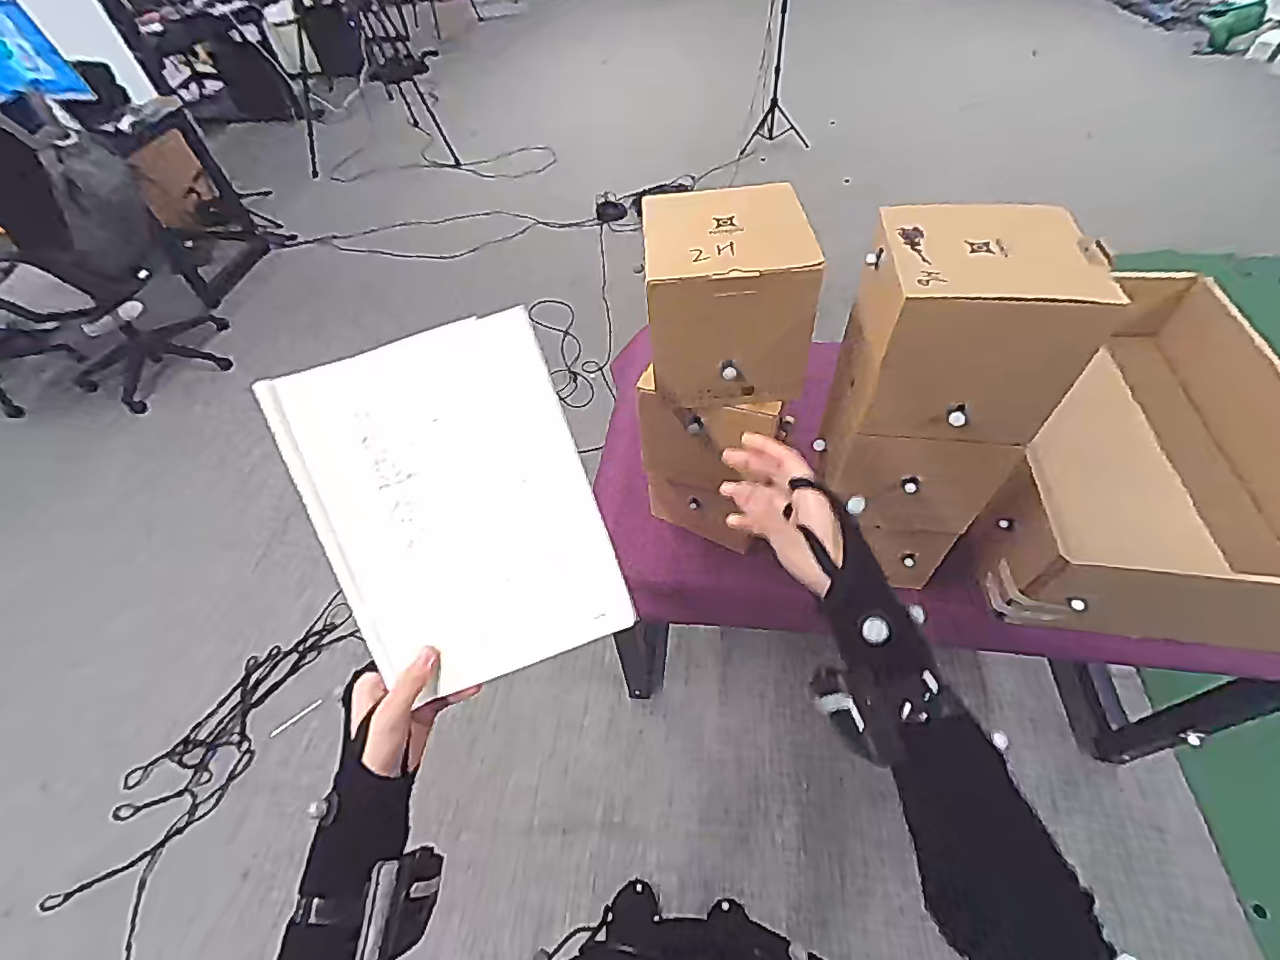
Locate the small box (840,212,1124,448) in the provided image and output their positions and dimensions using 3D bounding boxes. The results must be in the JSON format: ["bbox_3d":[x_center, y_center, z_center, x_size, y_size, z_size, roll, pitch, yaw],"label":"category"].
[{"bbox_3d":[0.320,-0.150,0.554,0.179,0.176,0.168,5,50,7],"label":"small box"}]

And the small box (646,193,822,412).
[{"bbox_3d":[0.093,-0.199,0.615,0.168,0.176,0.179,-4,51,3],"label":"small box"}]

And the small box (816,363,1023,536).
[{"bbox_3d":[0.330,-0.046,0.681,0.179,0.176,0.168,5,51,9],"label":"small box"}]
